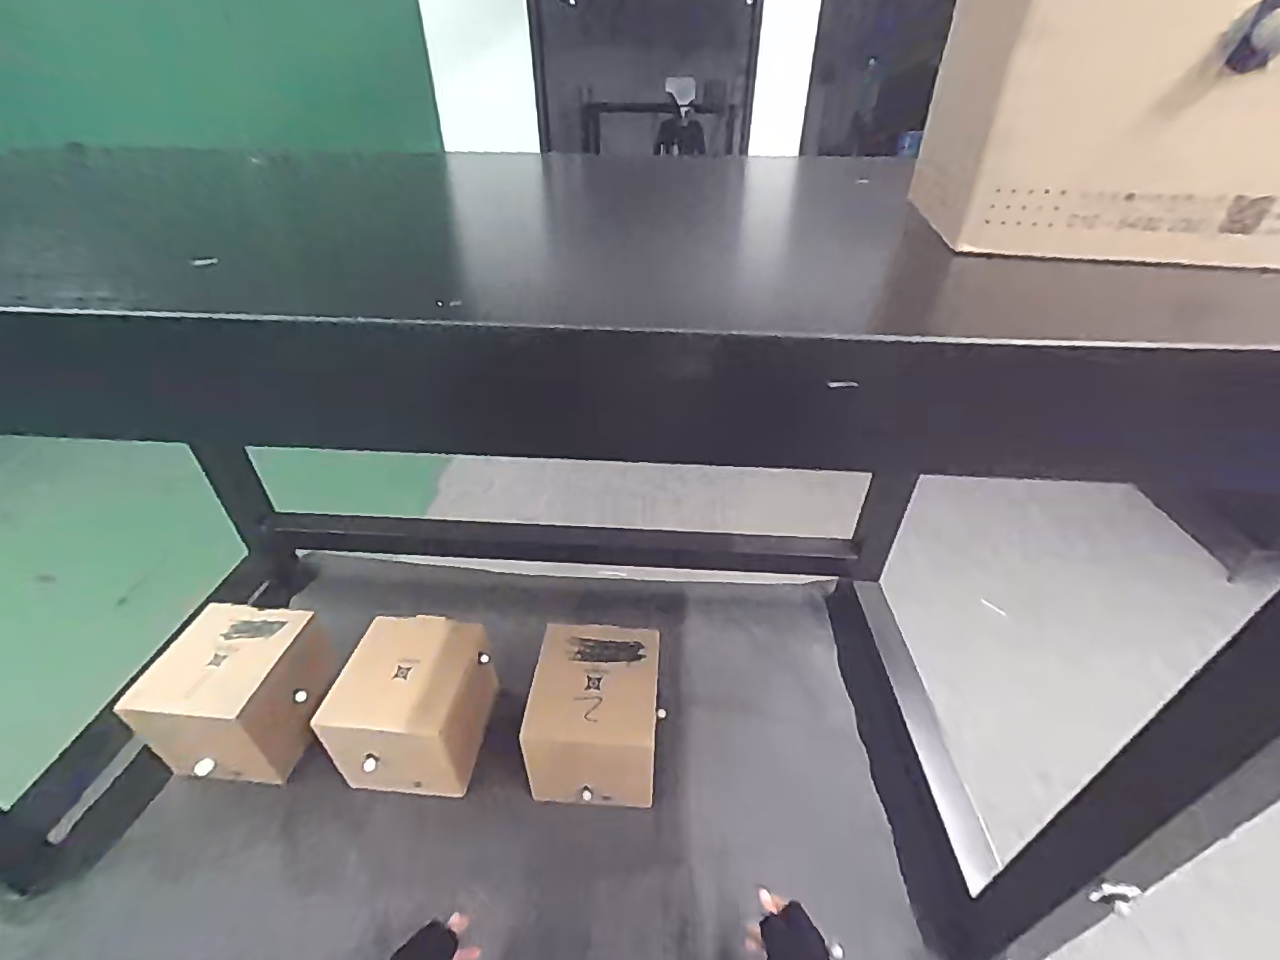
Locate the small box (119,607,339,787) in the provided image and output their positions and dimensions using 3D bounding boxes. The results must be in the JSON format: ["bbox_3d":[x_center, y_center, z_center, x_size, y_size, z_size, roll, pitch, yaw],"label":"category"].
[{"bbox_3d":[-0.572,0.312,0.789,0.168,0.176,0.179,3,36,4],"label":"small box"}]

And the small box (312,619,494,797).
[{"bbox_3d":[-0.320,0.326,0.778,0.168,0.176,0.179,3,35,3],"label":"small box"}]
